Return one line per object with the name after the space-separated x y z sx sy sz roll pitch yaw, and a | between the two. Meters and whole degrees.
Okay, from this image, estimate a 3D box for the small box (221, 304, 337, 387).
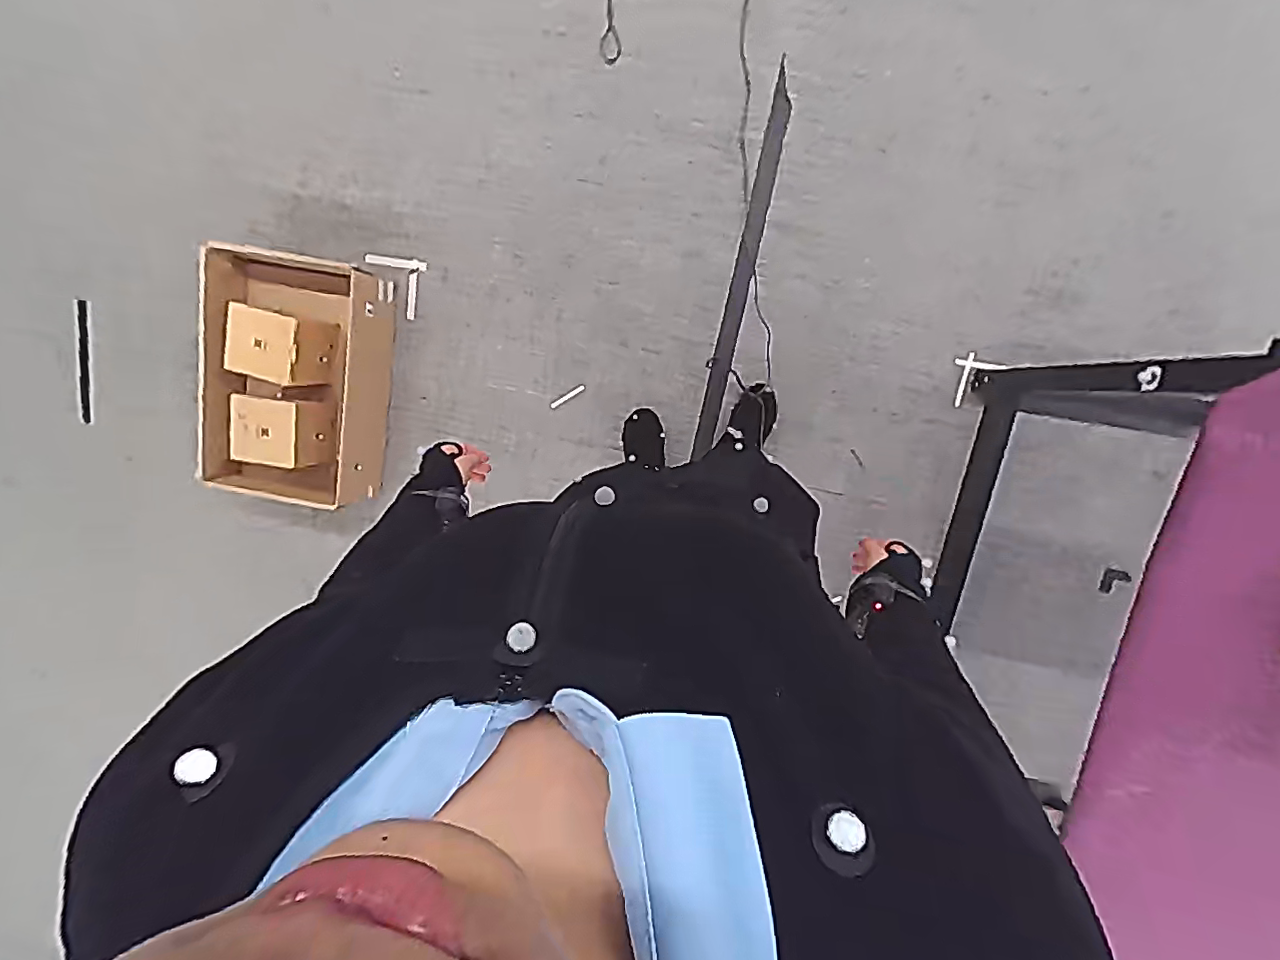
-0.923 -0.340 1.392 0.179 0.176 0.168 16 102 2 | small box

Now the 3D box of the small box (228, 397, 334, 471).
-0.941 -0.126 1.429 0.179 0.176 0.168 9 99 4 | small box
